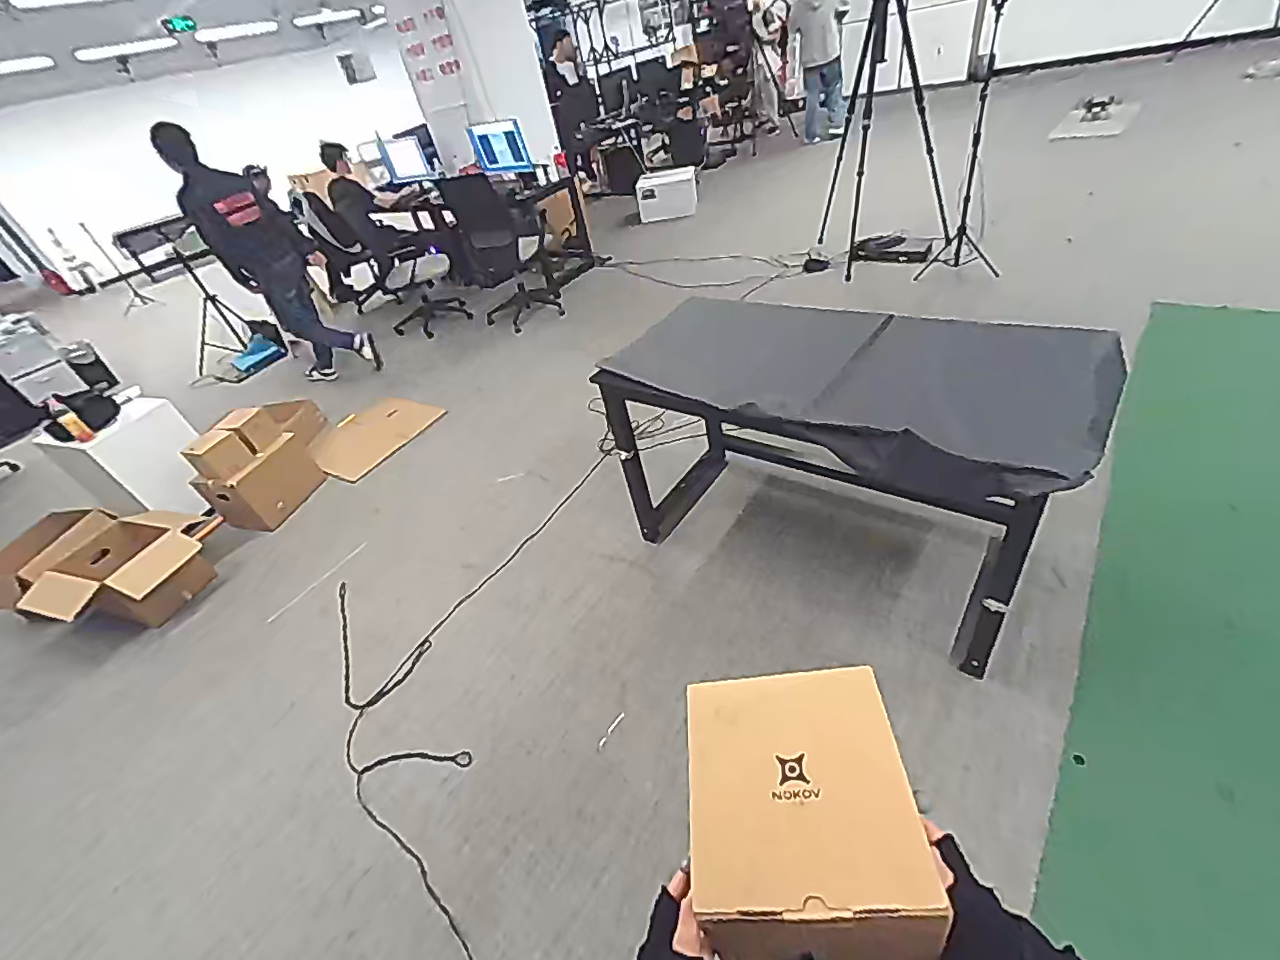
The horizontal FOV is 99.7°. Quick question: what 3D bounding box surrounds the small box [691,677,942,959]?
[{"bbox_3d":[0.140,0.302,0.476,0.168,0.176,0.179,-10,38,11],"label":"small box"}]
